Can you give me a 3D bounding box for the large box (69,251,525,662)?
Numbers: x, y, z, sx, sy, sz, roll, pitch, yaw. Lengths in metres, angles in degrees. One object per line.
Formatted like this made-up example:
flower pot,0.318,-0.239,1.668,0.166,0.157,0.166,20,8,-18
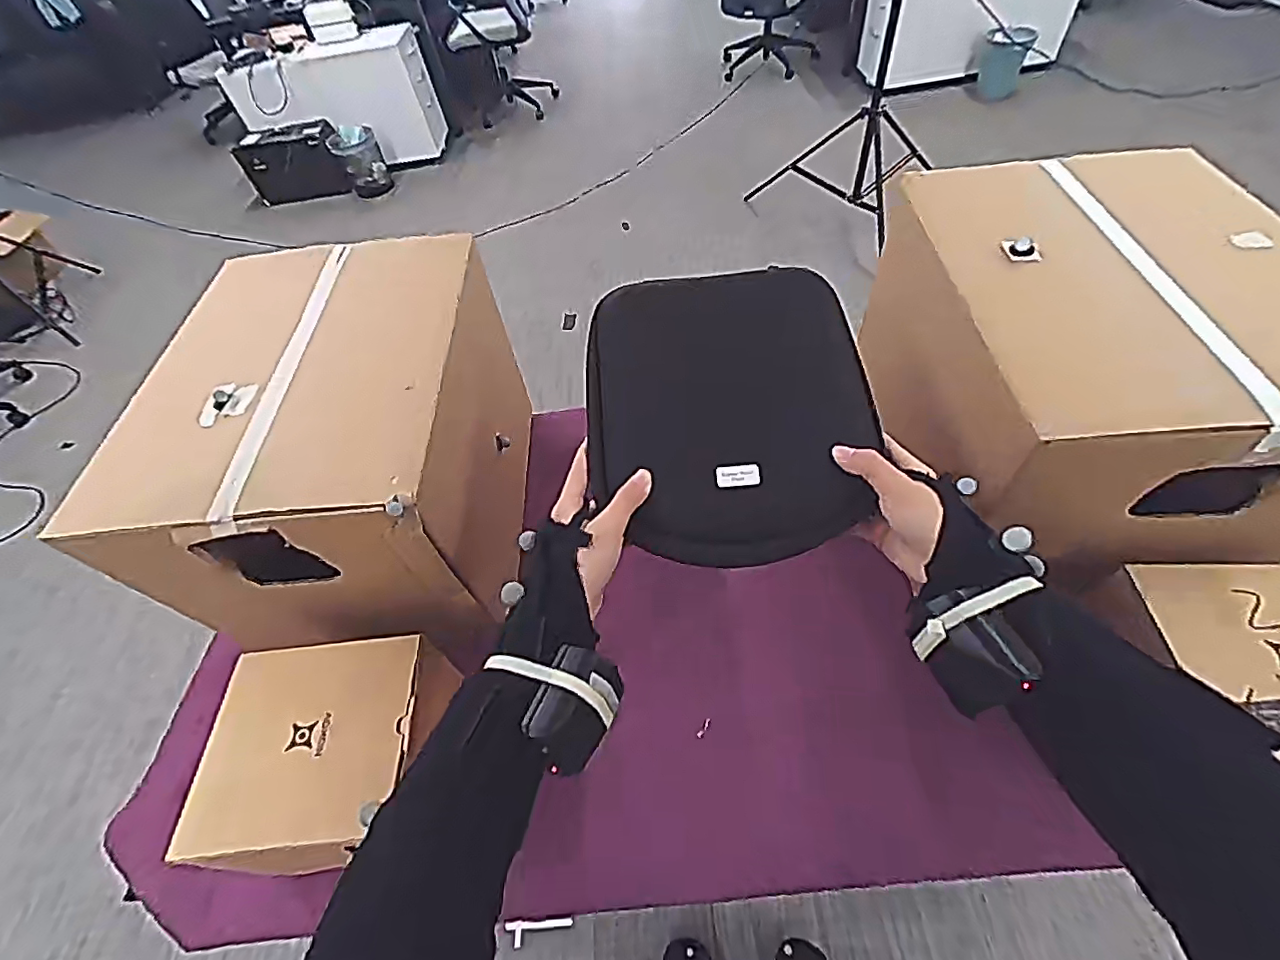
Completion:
large box,-0.335,-0.025,0.684,0.320,0.320,0.408,-6,55,2
